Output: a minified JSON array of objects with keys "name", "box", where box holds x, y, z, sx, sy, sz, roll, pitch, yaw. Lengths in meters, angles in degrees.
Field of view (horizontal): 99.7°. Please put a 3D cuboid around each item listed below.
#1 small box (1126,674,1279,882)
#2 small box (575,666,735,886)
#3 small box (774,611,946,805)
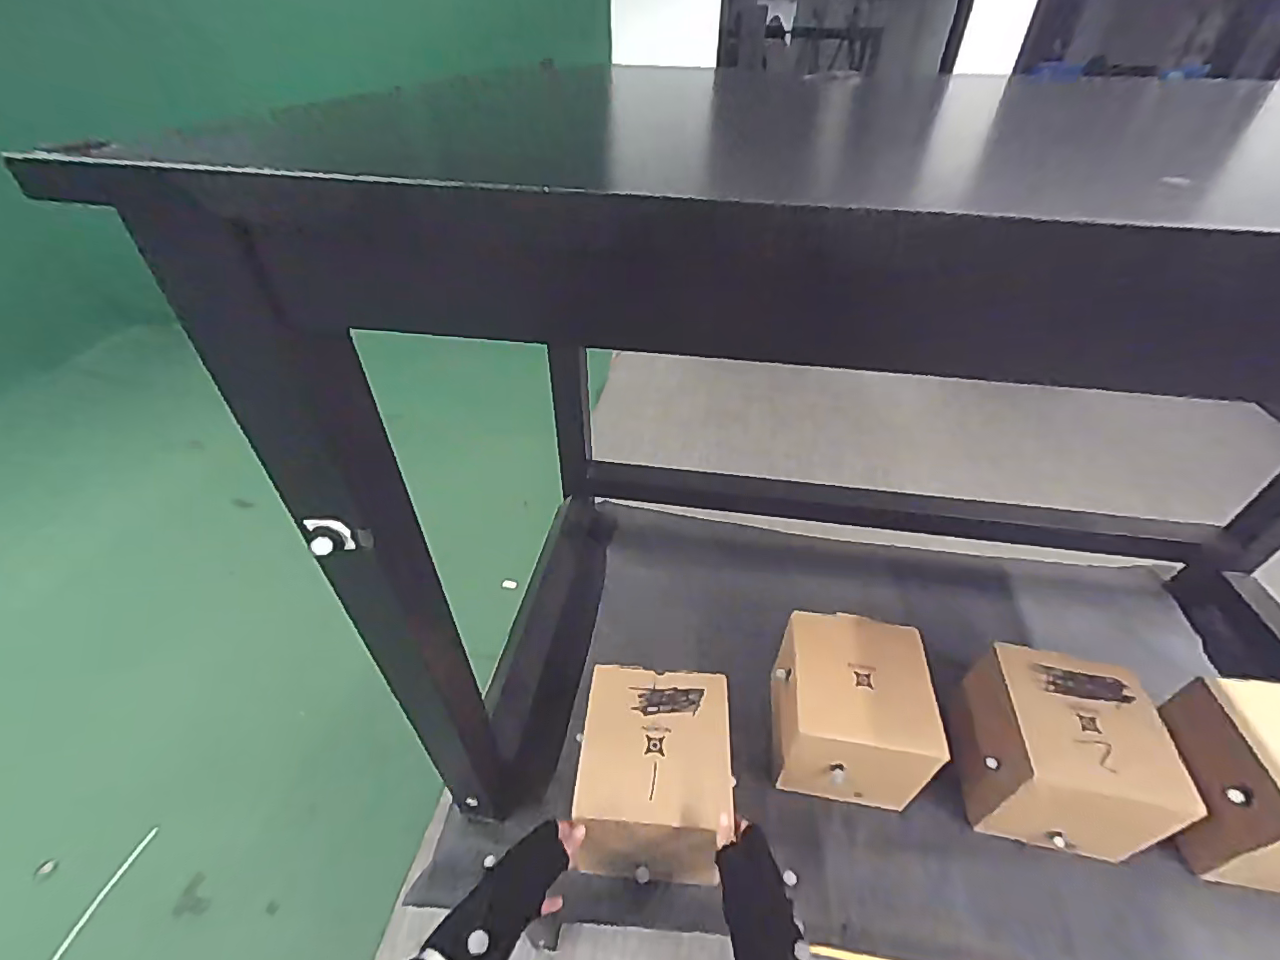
[{"name":"small box","box":[0.760,0.367,0.654,0.168,0.176,0.179,6,40,6]},{"name":"small box","box":[0.019,0.355,0.655,0.168,0.176,0.179,3,39,3]},{"name":"small box","box":[0.276,0.305,0.725,0.168,0.176,0.179,6,40,7]}]
